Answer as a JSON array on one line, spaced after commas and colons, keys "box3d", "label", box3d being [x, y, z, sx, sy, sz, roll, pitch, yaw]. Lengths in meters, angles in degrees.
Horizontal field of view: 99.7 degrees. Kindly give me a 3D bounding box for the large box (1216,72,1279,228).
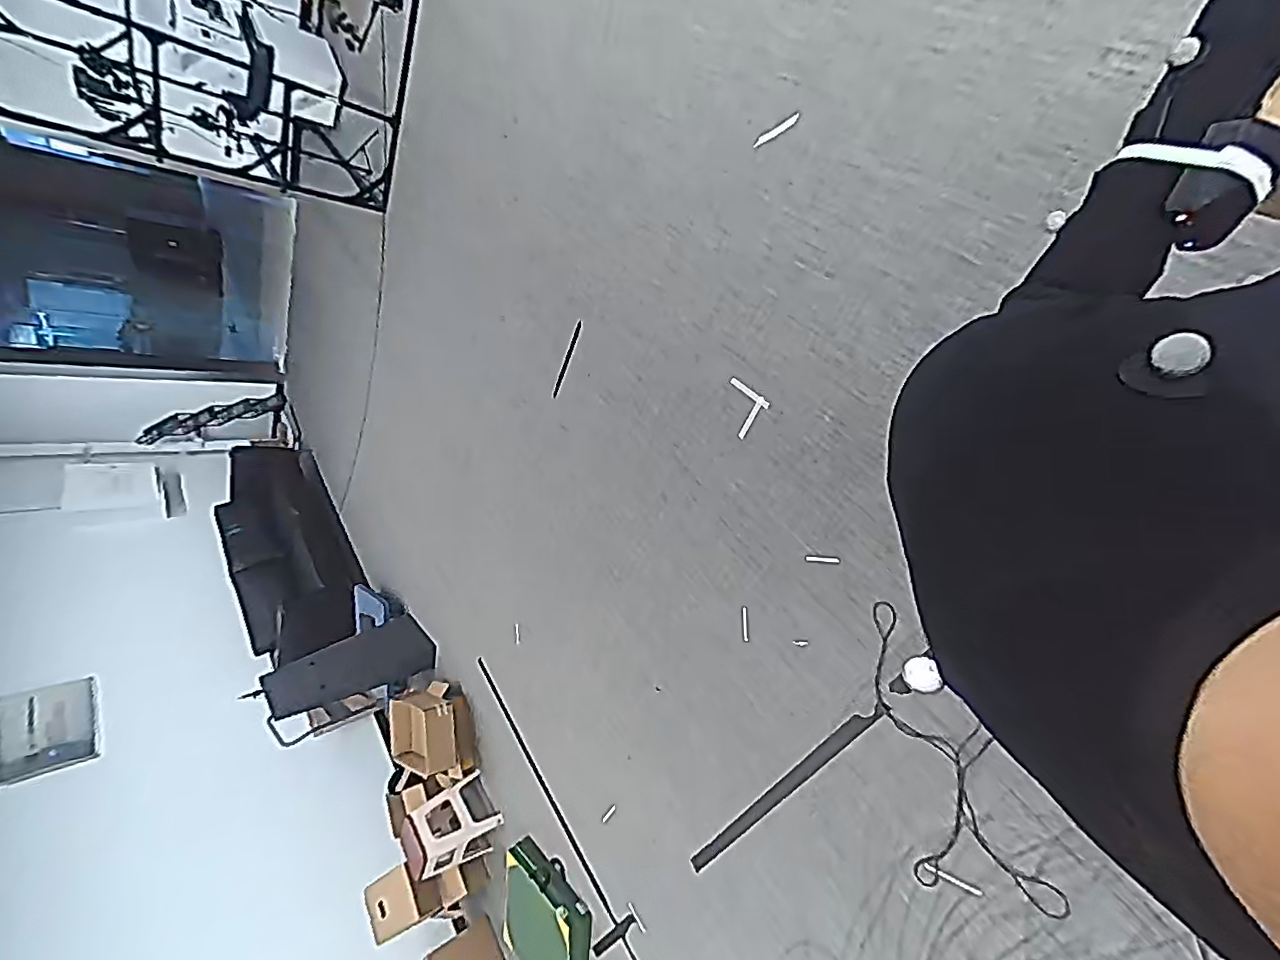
[{"box3d": [0.696, -0.290, 0.314, 0.408, 0.320, 0.320, 38, 128, 32], "label": "large box"}]
